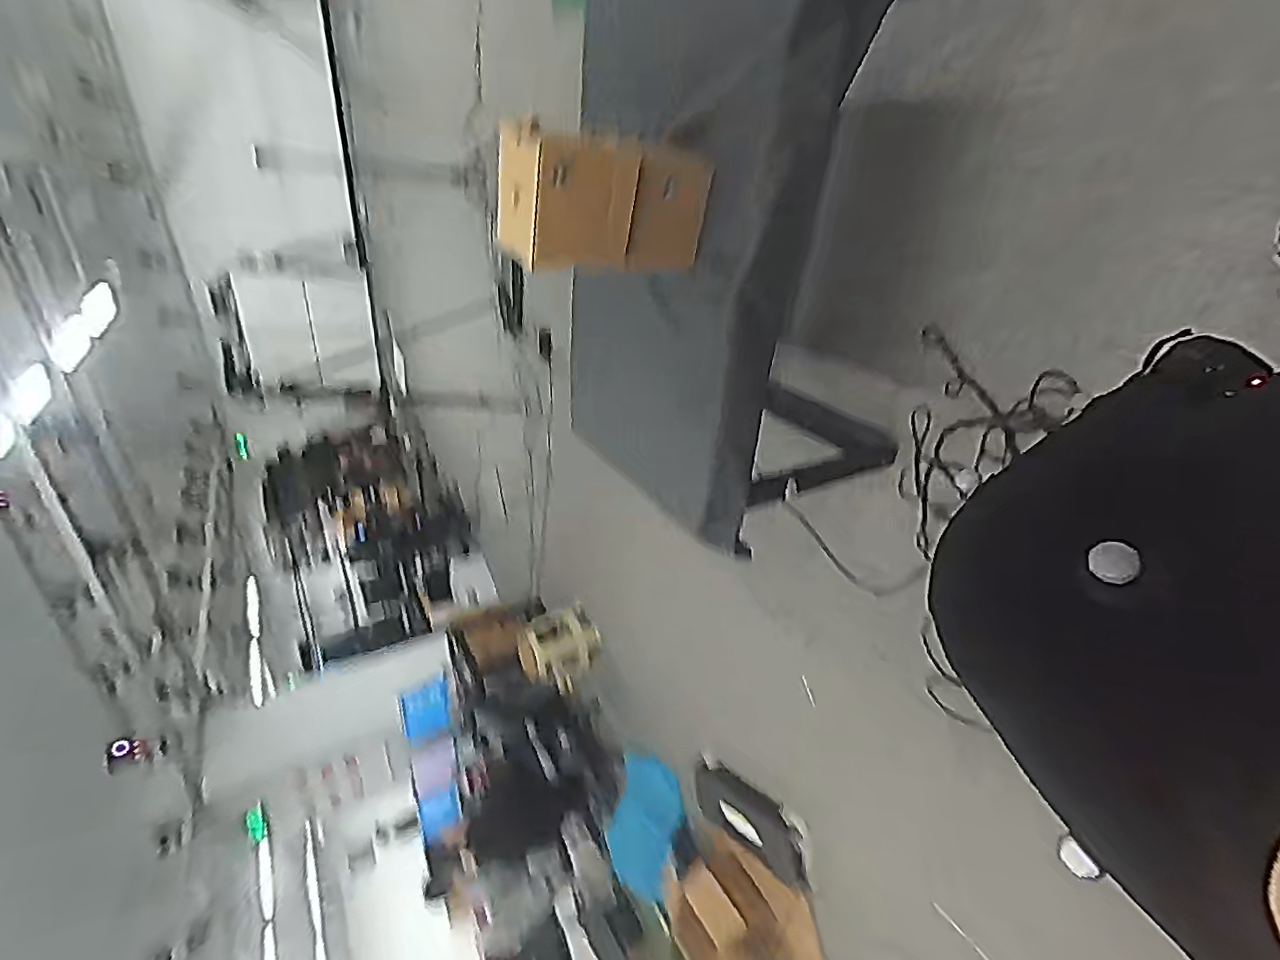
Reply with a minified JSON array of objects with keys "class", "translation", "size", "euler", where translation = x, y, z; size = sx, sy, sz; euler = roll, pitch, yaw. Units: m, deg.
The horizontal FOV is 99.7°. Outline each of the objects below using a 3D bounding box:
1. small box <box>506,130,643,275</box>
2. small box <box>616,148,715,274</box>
[{"class":"small box","translation":[-0.112,-0.449,0.886],"size":[0.168,0.176,0.179],"euler":[50,140,40]},{"class":"small box","translation":[0.015,-0.488,0.982],"size":[0.168,0.176,0.179],"euler":[49,140,41]}]
